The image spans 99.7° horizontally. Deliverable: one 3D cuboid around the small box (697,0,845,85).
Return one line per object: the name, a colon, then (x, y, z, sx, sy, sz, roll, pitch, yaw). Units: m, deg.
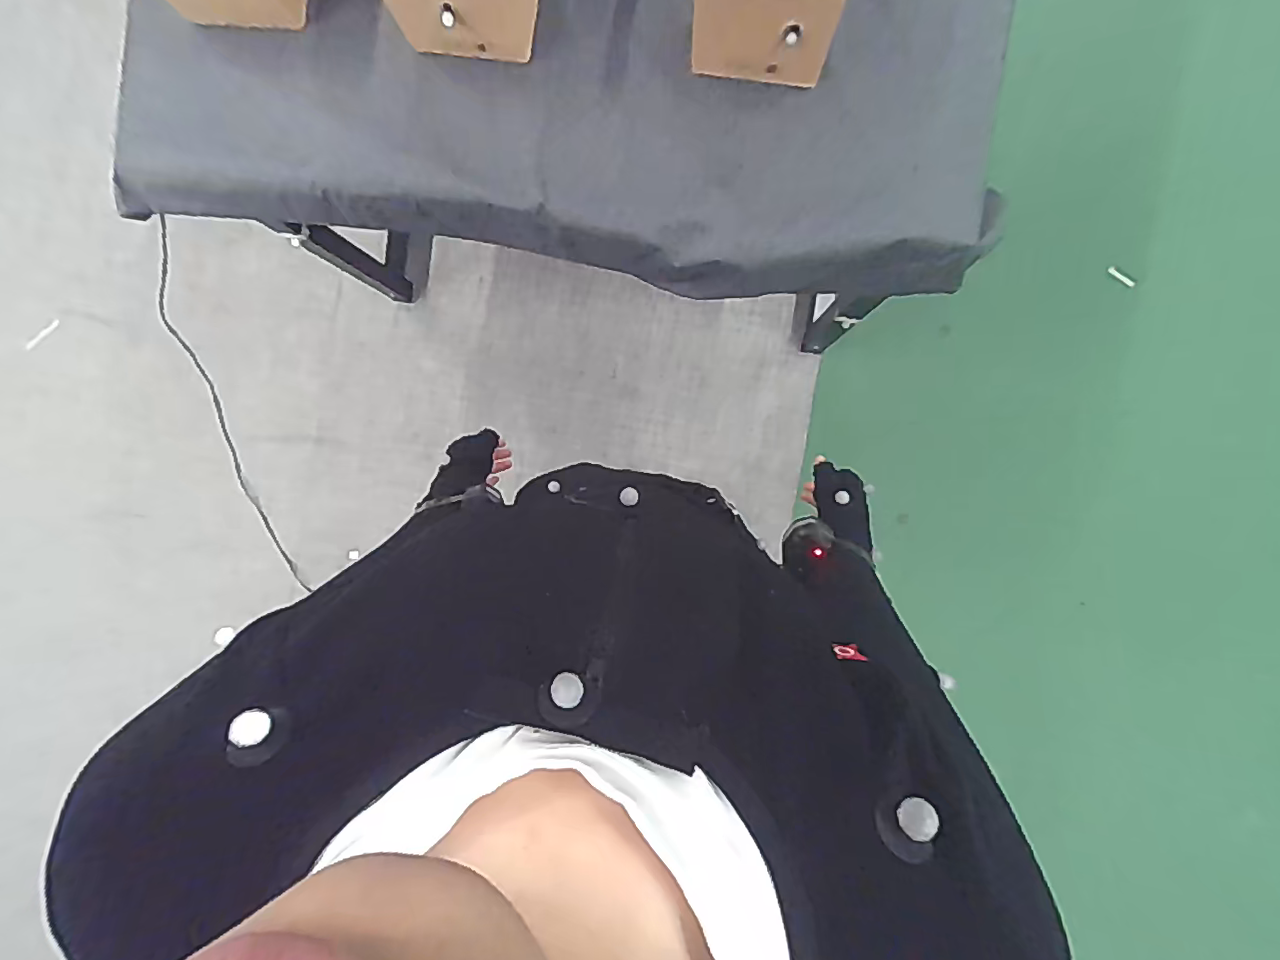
small box: (0.162, -0.610, 0.631, 0.168, 0.176, 0.179, 10, 91, 3)

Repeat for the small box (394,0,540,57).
small box: (-0.216, -0.664, 0.658, 0.168, 0.176, 0.179, 9, 92, 4)

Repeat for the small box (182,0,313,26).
small box: (-0.542, -0.721, 0.680, 0.179, 0.176, 0.168, 6, 92, 3)
